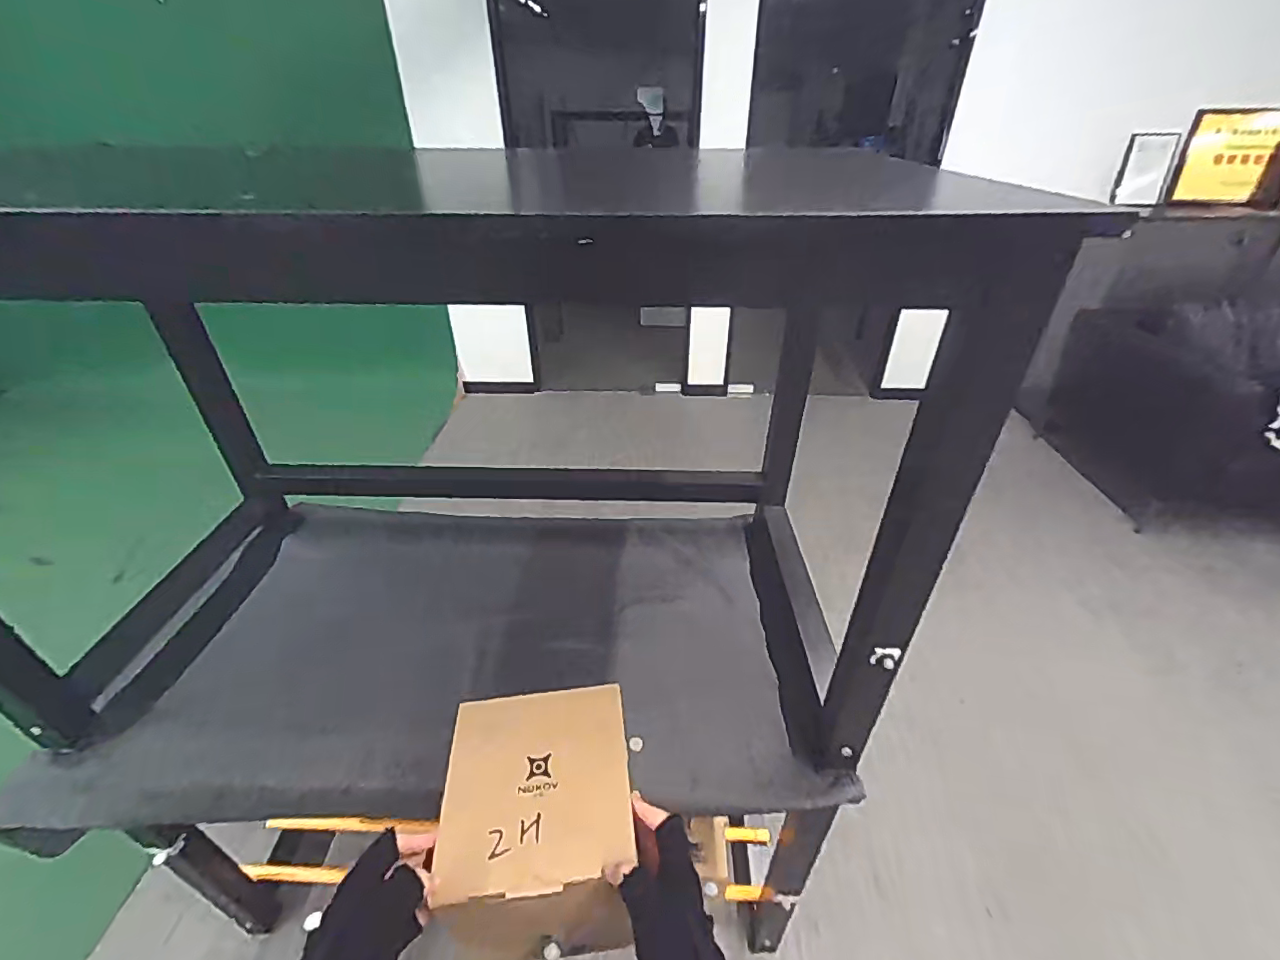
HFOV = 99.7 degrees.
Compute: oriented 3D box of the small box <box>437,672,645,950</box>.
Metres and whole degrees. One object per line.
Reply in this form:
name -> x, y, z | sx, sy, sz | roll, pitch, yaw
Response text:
small box -> -0.085, 0.322, 0.539 | 0.168, 0.176, 0.179 | -5, 35, -4
